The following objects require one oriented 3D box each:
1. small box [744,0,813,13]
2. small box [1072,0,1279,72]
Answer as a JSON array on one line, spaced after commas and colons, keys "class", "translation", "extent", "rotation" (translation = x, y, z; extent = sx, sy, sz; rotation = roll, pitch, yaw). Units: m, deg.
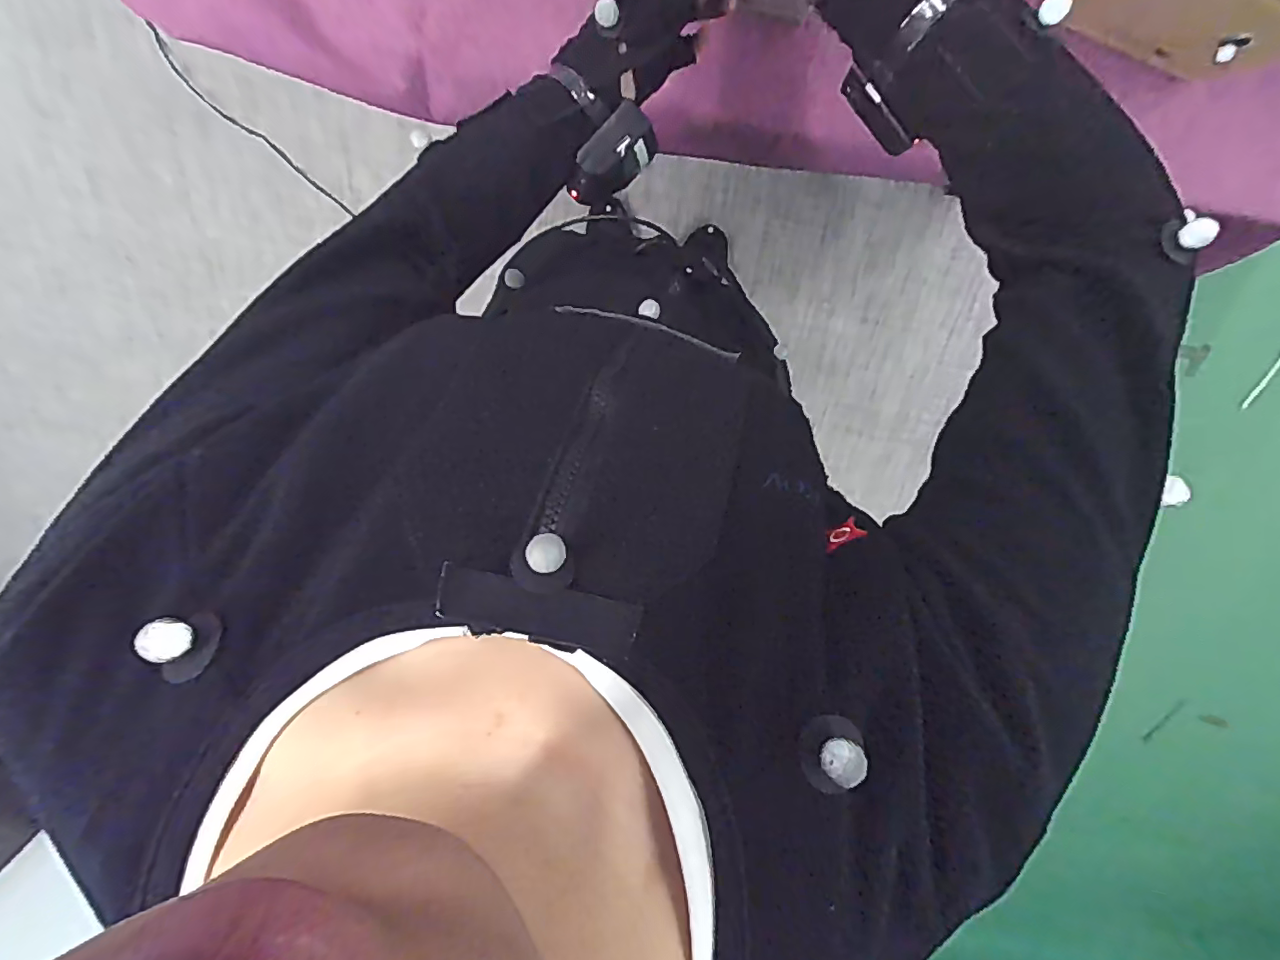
[{"class": "small box", "translation": [0.091, -0.490, 0.402], "extent": [0.168, 0.176, 0.179], "rotation": [11, 118, -2]}, {"class": "small box", "translation": [0.476, -0.443, 0.401], "extent": [0.168, 0.176, 0.179], "rotation": [18, 117, -6]}]
